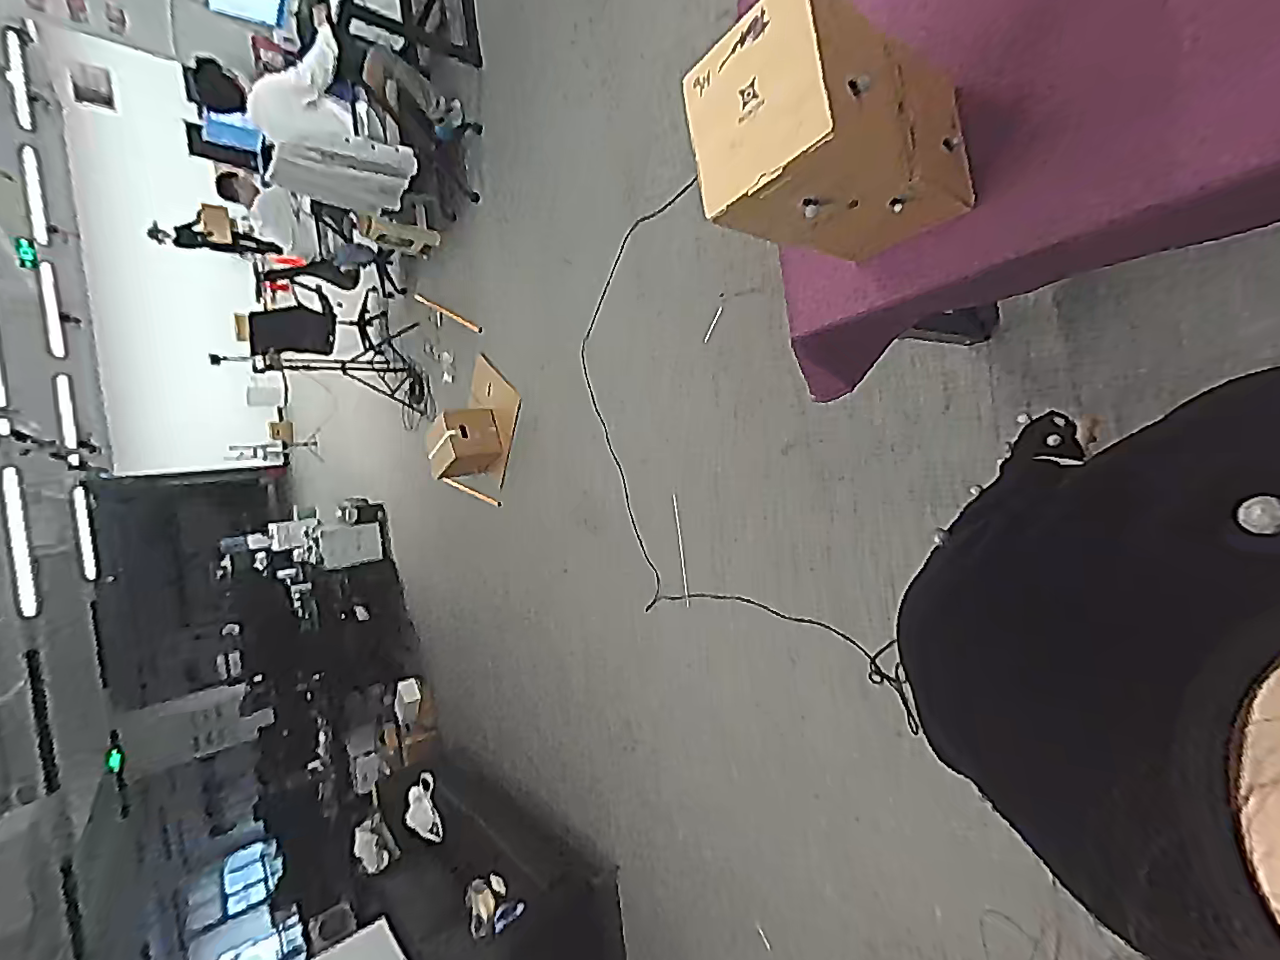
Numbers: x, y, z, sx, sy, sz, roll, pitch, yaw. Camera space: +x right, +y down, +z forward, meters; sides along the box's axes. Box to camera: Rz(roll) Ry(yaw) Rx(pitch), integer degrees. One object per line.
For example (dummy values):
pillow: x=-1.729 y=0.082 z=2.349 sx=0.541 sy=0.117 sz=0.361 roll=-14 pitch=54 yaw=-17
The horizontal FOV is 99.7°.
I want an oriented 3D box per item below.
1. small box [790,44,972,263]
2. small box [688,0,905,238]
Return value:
small box: x=0.312 y=-0.415 z=0.729 sx=0.179 sy=0.176 sz=0.168 roll=-12 pitch=86 yaw=50
small box: x=0.183 y=-0.403 z=0.627 sx=0.168 sy=0.176 sz=0.179 roll=-12 pitch=86 yaw=49
